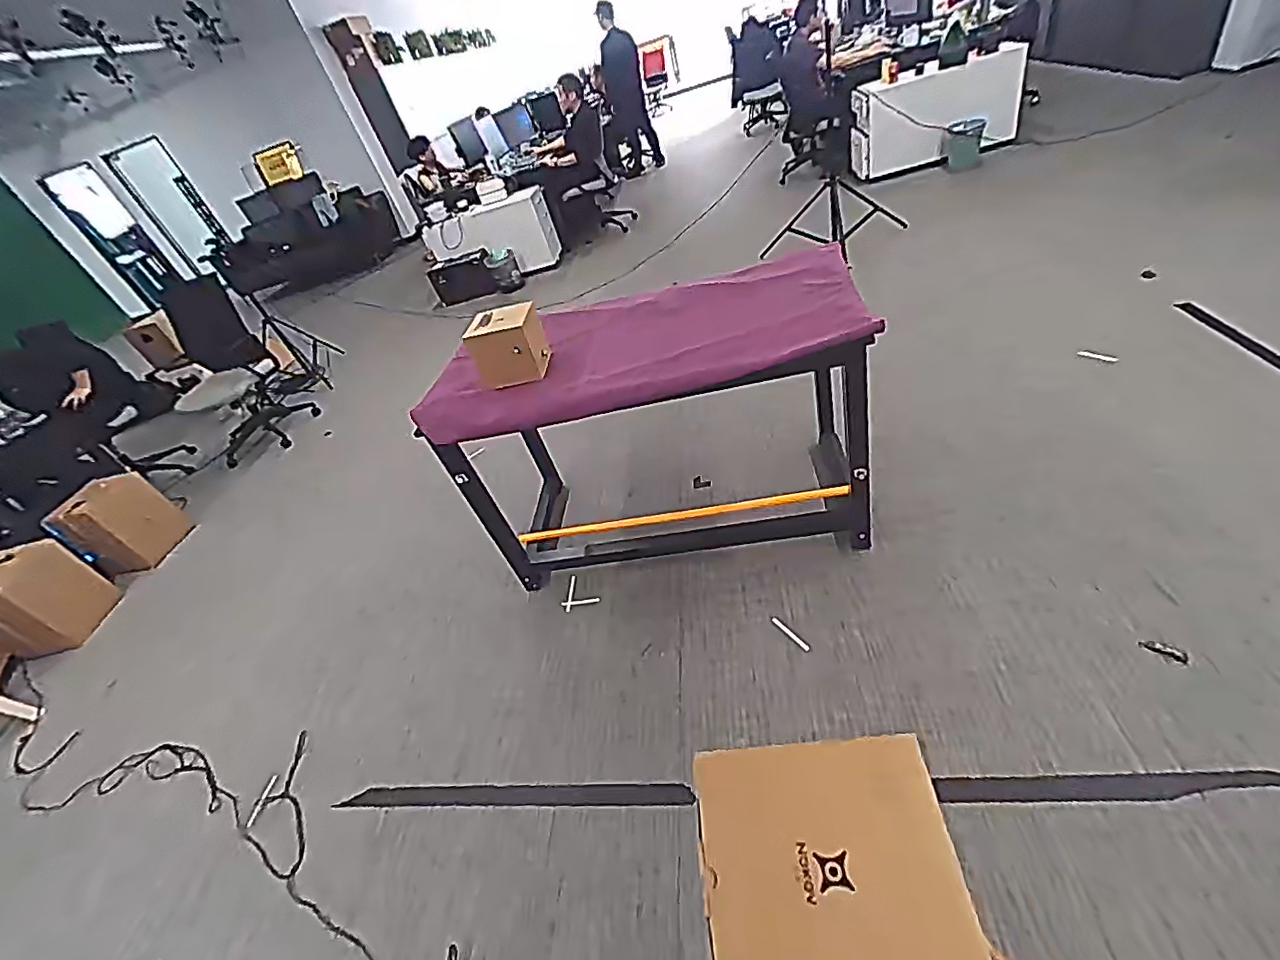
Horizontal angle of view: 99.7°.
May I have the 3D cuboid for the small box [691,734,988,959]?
[{"bbox_3d":[0.146,0.318,0.434,0.179,0.176,0.168,-11,49,10],"label":"small box"}]
